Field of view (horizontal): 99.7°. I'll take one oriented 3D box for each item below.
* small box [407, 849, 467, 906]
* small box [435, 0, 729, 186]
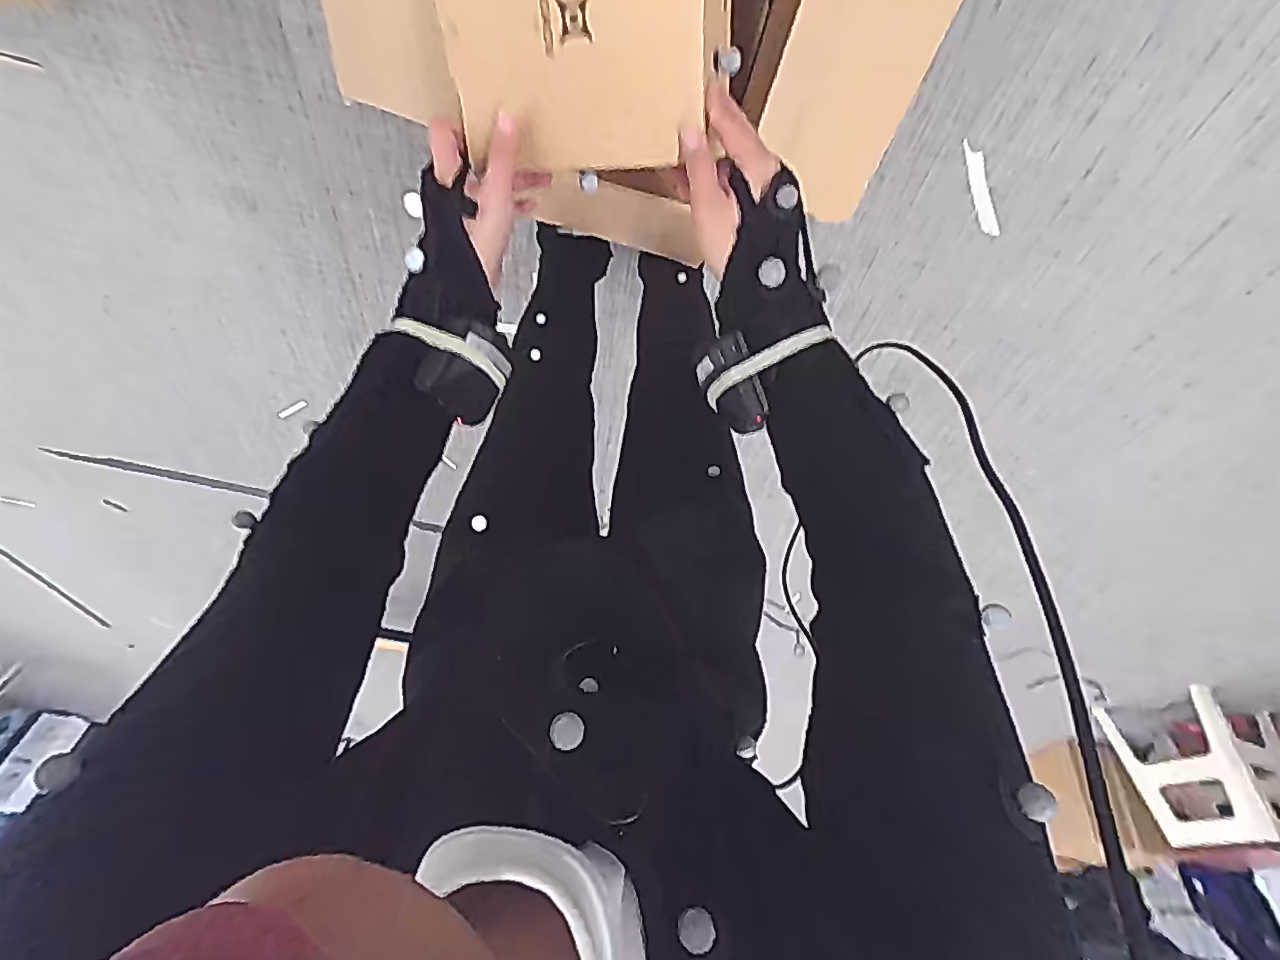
[{"bbox_3d":[-0.777,1.538,2.087,0.179,0.168,0.176,8,141,-9],"label":"small box"},{"bbox_3d":[-0.027,-0.322,0.400,0.179,0.176,0.168,4,123,14],"label":"small box"}]
